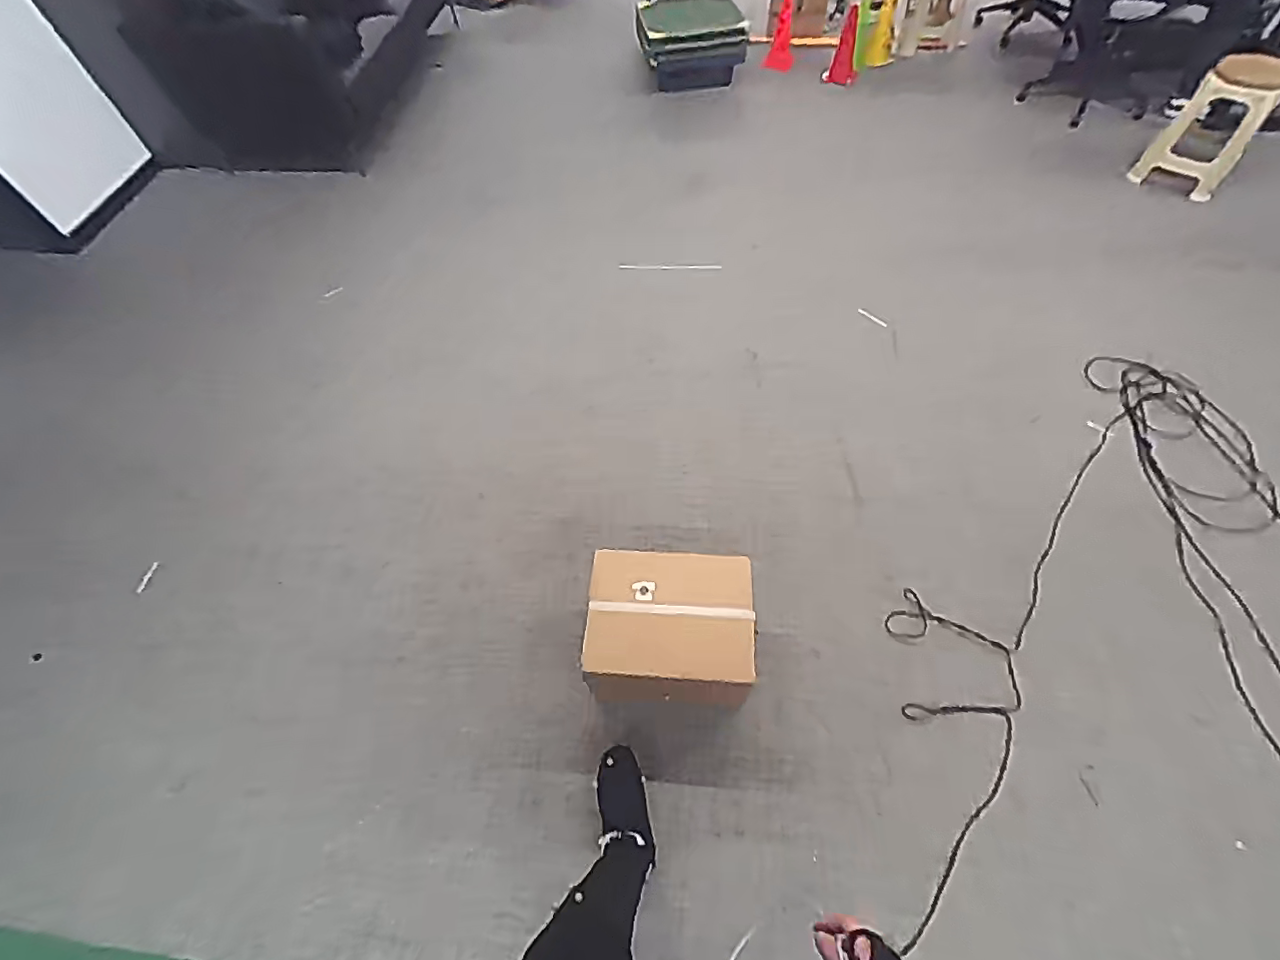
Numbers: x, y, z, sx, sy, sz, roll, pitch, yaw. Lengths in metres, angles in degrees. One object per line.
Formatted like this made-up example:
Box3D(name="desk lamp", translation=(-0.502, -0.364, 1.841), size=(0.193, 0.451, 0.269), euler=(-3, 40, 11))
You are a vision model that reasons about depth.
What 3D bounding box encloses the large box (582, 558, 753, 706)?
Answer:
Box3D(name="large box", translation=(0.079, 0.414, 1.450), size=(0.408, 0.320, 0.320), euler=(1, 56, 5))
